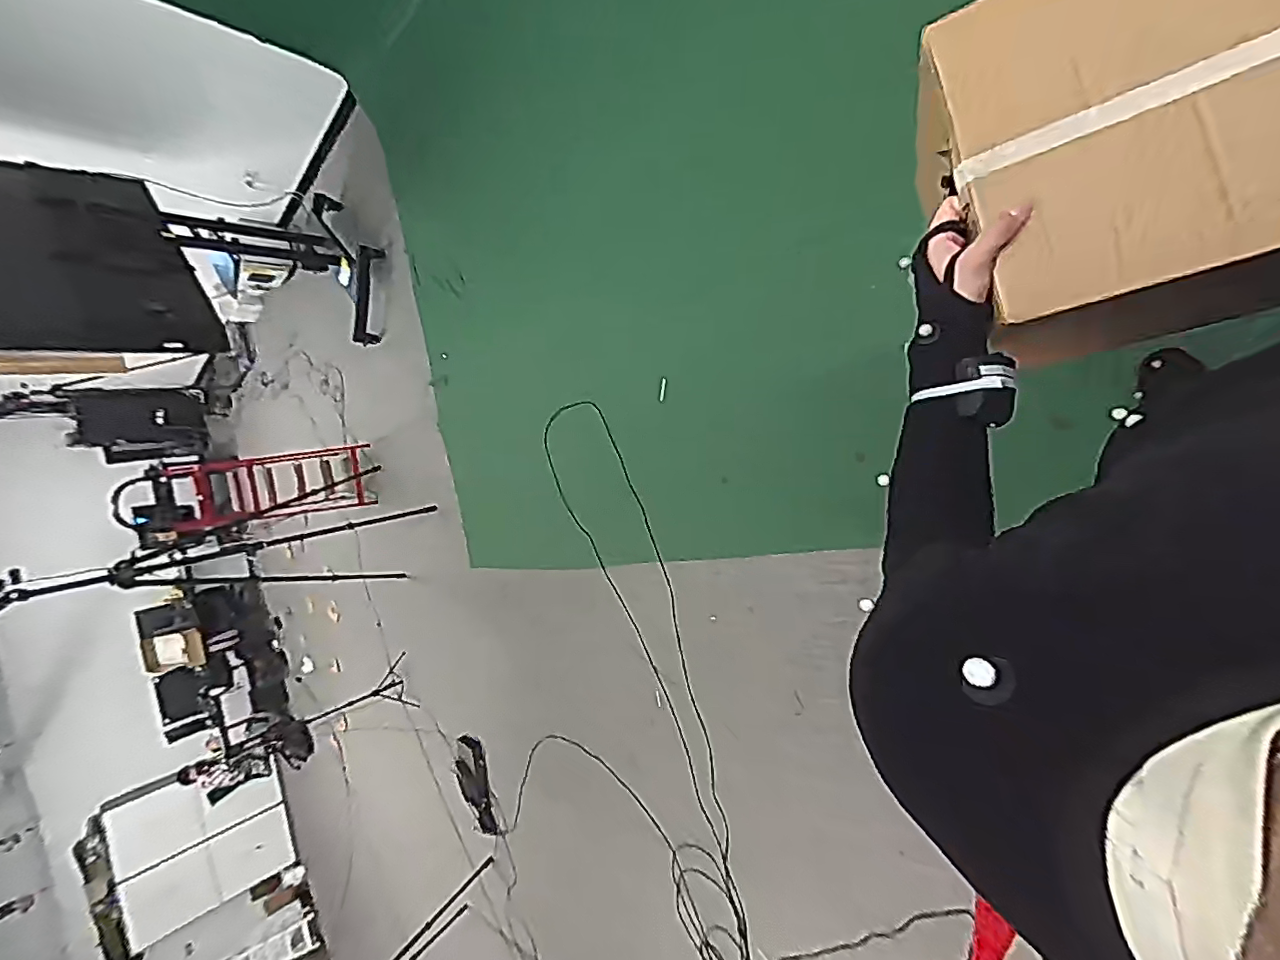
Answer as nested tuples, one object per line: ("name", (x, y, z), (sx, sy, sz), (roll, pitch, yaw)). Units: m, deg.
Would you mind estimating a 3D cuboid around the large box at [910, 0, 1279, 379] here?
("large box", (0.556, -0.342, 0.588), (0.408, 0.320, 0.320), (-15, 83, 23))
